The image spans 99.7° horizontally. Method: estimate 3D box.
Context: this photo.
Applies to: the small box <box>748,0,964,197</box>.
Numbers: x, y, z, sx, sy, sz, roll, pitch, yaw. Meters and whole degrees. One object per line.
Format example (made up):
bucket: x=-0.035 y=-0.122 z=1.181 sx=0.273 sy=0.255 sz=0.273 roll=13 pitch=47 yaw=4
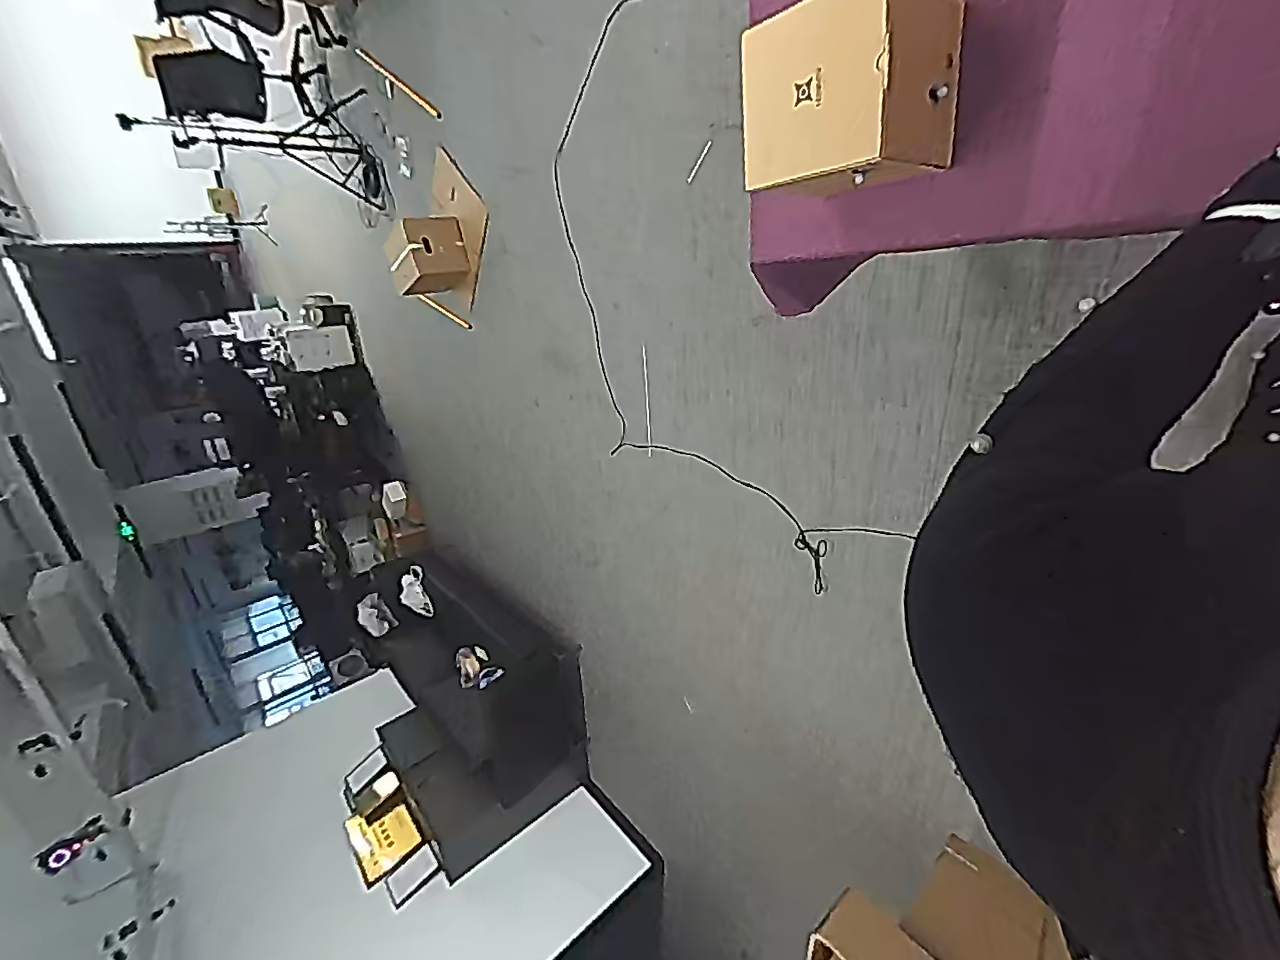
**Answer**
small box: x=0.248 y=-0.443 z=0.637 sx=0.179 sy=0.176 sz=0.168 roll=16 pitch=117 yaw=47
